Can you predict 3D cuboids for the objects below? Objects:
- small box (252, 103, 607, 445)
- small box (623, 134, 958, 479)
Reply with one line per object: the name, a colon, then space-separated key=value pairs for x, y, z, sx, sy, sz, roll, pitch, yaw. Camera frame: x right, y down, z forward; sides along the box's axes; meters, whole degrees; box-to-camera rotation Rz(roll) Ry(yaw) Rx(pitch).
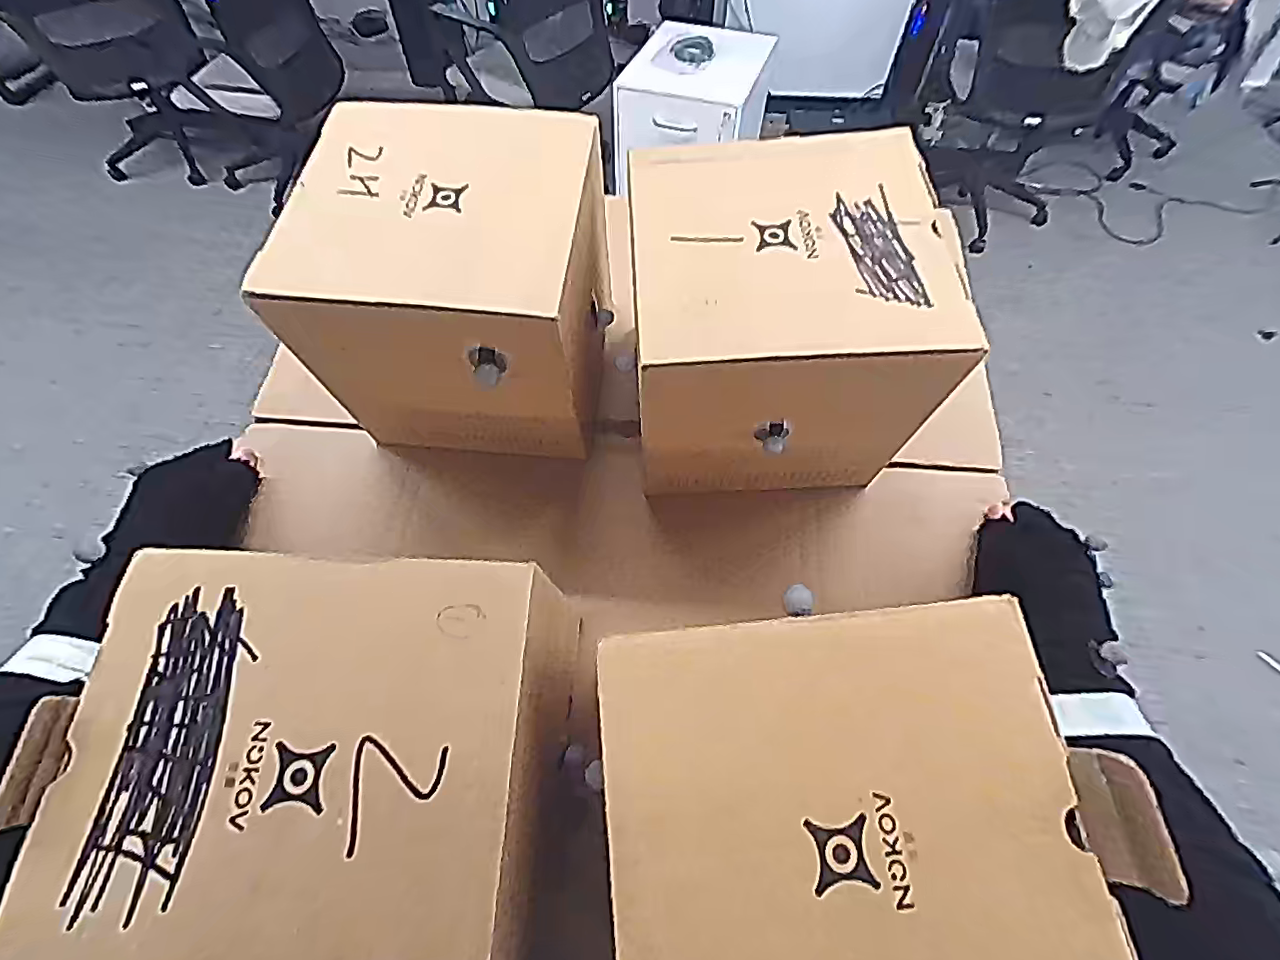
small box: x=-0.123 y=-0.138 z=0.403 sx=0.179 sy=0.176 sz=0.168 roll=6 pitch=66 yaw=4
small box: x=0.080 y=-0.109 z=0.385 sx=0.179 sy=0.176 sz=0.168 roll=-3 pitch=66 yaw=1
